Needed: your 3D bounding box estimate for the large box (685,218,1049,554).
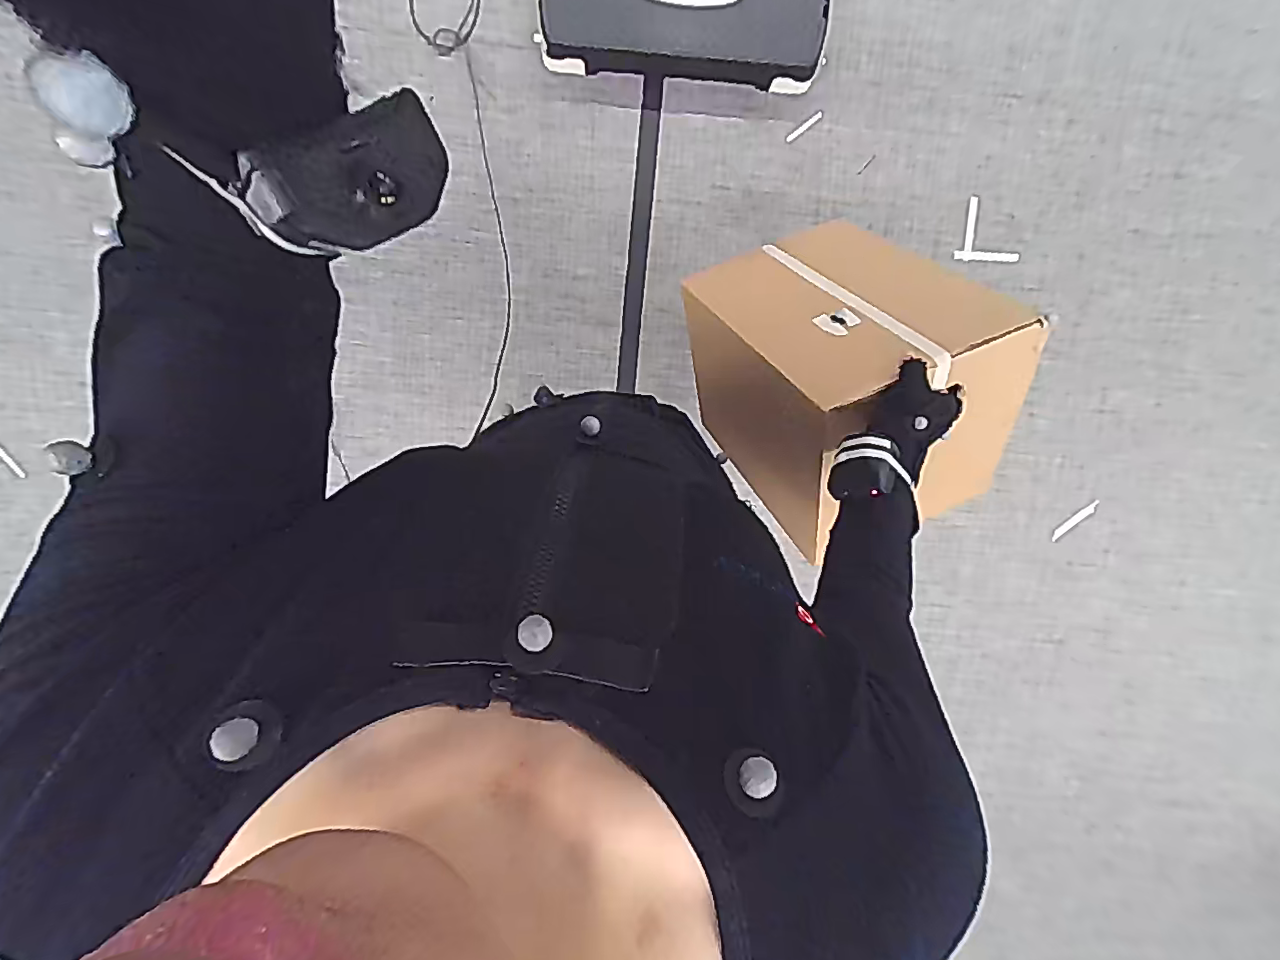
[{"bbox_3d":[0.306,-0.163,0.867,0.320,0.408,0.320,-23,136,-6],"label":"large box"}]
